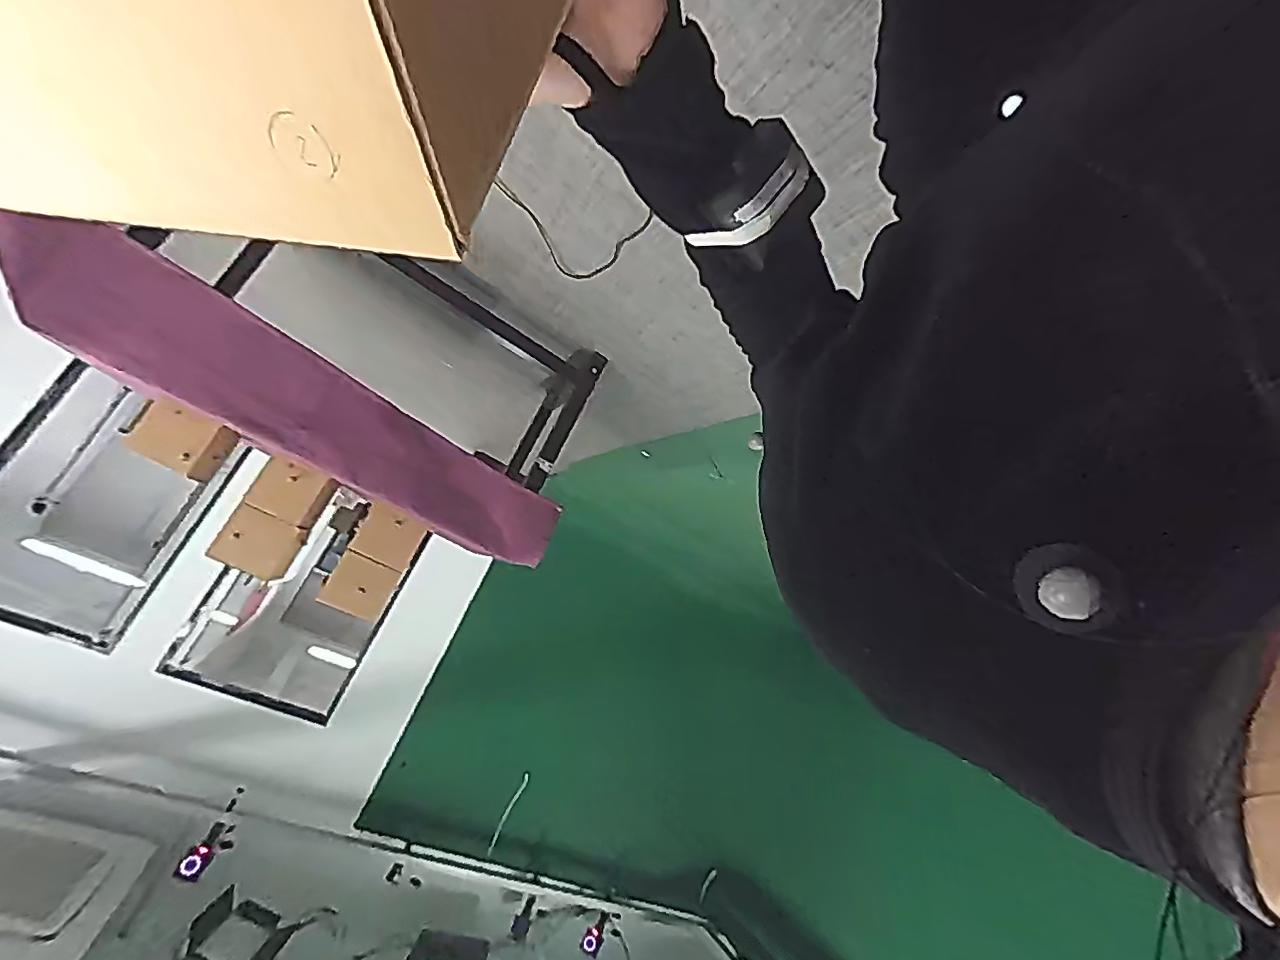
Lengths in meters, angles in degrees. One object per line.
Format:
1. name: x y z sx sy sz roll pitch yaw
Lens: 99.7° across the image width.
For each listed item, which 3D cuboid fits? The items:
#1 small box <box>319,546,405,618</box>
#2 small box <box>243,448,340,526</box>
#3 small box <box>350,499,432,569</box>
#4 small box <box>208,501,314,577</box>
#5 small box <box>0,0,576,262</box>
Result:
1. small box: -0.860 0.311 1.682 0.179 0.176 0.168 29 163 -19
2. small box: -1.037 0.024 1.630 0.168 0.176 0.179 28 163 -14
3. small box: -0.793 0.167 1.727 0.179 0.176 0.168 30 164 -19
4. small box: -1.099 0.168 1.584 0.179 0.176 0.168 29 165 -16
5. small box: -0.119 -0.198 0.153 0.168 0.176 0.179 8 152 4
